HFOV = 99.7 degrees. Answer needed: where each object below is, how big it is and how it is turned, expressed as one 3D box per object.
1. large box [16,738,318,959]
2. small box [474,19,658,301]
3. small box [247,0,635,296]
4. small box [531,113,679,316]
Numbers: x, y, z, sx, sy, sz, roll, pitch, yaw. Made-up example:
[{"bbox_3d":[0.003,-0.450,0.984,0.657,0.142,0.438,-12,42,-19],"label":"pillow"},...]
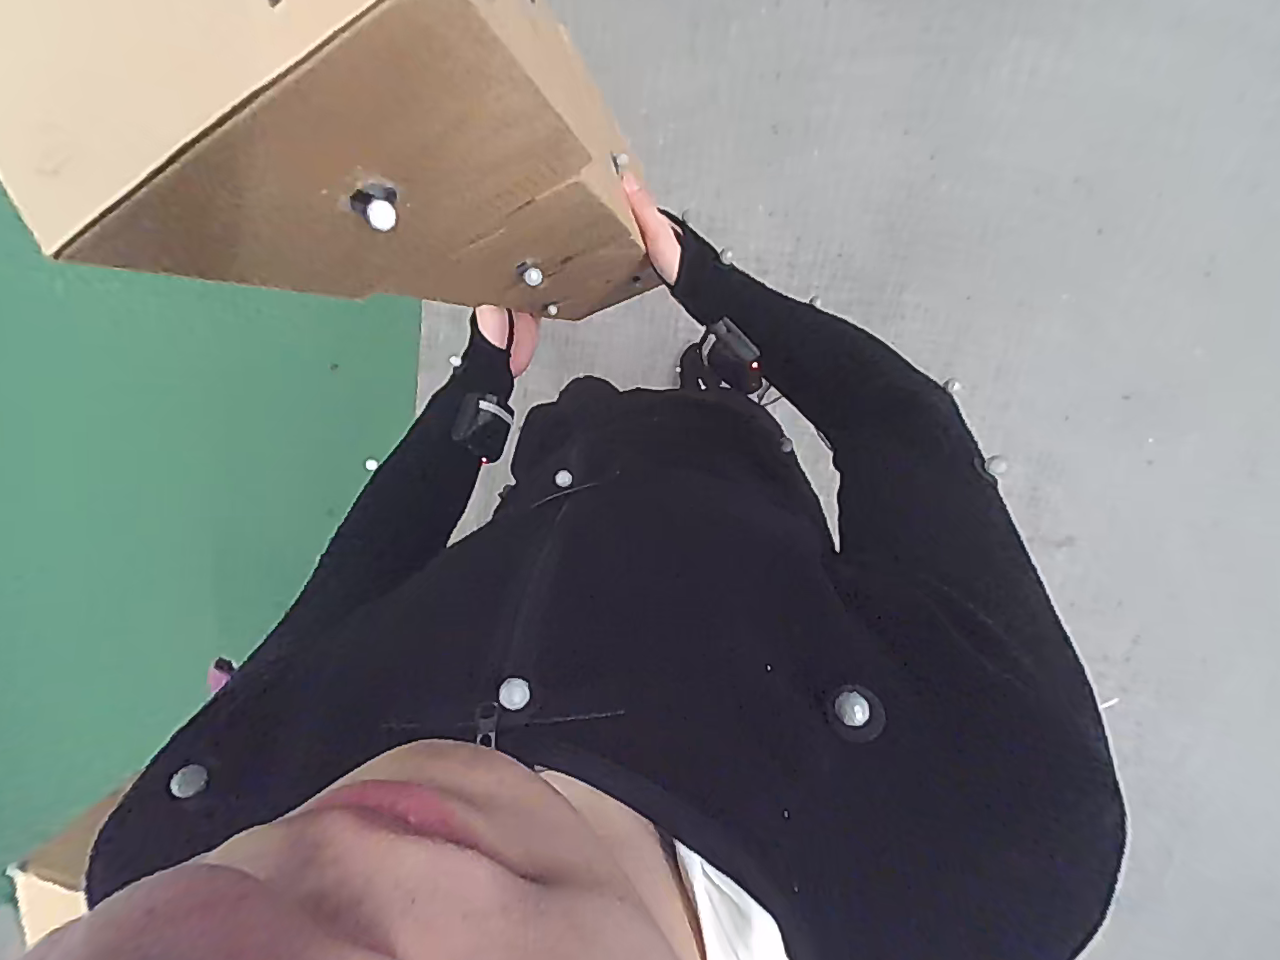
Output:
[{"bbox_3d":[-0.871,0.801,1.052,0.320,0.320,0.408,11,105,3],"label":"large box"},{"bbox_3d":[-0.089,-0.291,0.545,0.168,0.176,0.179,-16,99,13],"label":"small box"},{"bbox_3d":[-0.116,-0.250,0.388,0.168,0.176,0.179,-18,100,14],"label":"small box"},{"bbox_3d":[-0.061,-0.323,0.704,0.179,0.176,0.168,-18,99,13],"label":"small box"}]
